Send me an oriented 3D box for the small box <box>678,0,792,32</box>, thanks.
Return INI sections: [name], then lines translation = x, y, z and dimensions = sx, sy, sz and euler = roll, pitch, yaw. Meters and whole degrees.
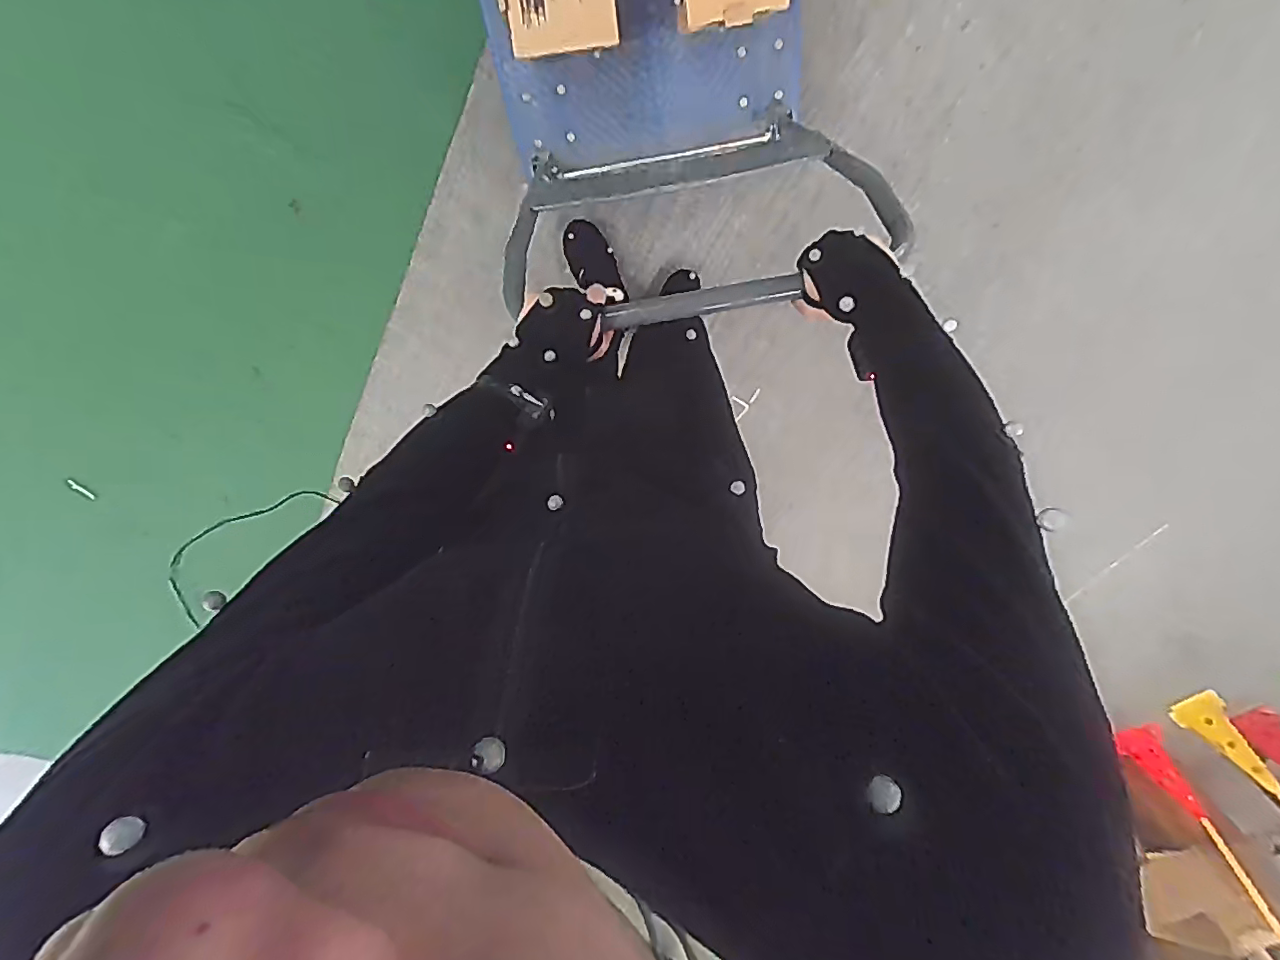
[small box]
translation = 0.144, -0.852, 0.874
dimensions = 0.168, 0.176, 0.179
euler = -9, 129, 4
